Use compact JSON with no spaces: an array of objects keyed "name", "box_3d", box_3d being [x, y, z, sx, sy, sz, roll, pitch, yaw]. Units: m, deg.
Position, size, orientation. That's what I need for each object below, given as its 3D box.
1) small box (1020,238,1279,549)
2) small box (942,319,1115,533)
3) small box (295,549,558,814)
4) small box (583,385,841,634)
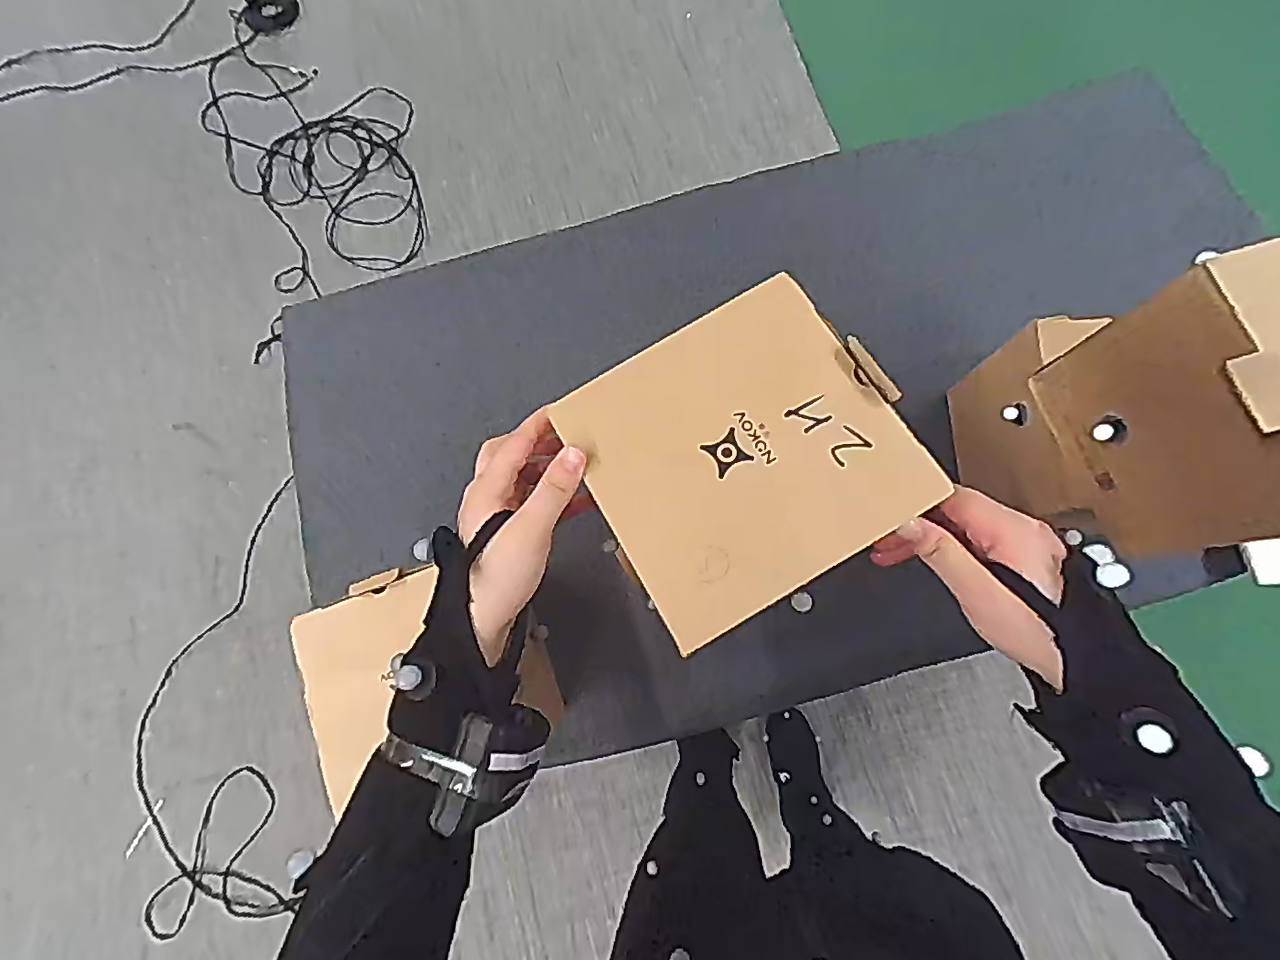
[{"name":"small box","box_3d":[0.429,-0.057,0.382,0.179,0.176,0.168,-18,76,1]},{"name":"small box","box_3d":[0.431,-0.044,0.547,0.168,0.176,0.179,-1,78,4]},{"name":"small box","box_3d":[-0.197,0.186,0.540,0.168,0.176,0.179,-22,77,-1]},{"name":"small box","box_3d":[0.067,0.040,0.555,0.179,0.176,0.168,-33,77,-4]}]
